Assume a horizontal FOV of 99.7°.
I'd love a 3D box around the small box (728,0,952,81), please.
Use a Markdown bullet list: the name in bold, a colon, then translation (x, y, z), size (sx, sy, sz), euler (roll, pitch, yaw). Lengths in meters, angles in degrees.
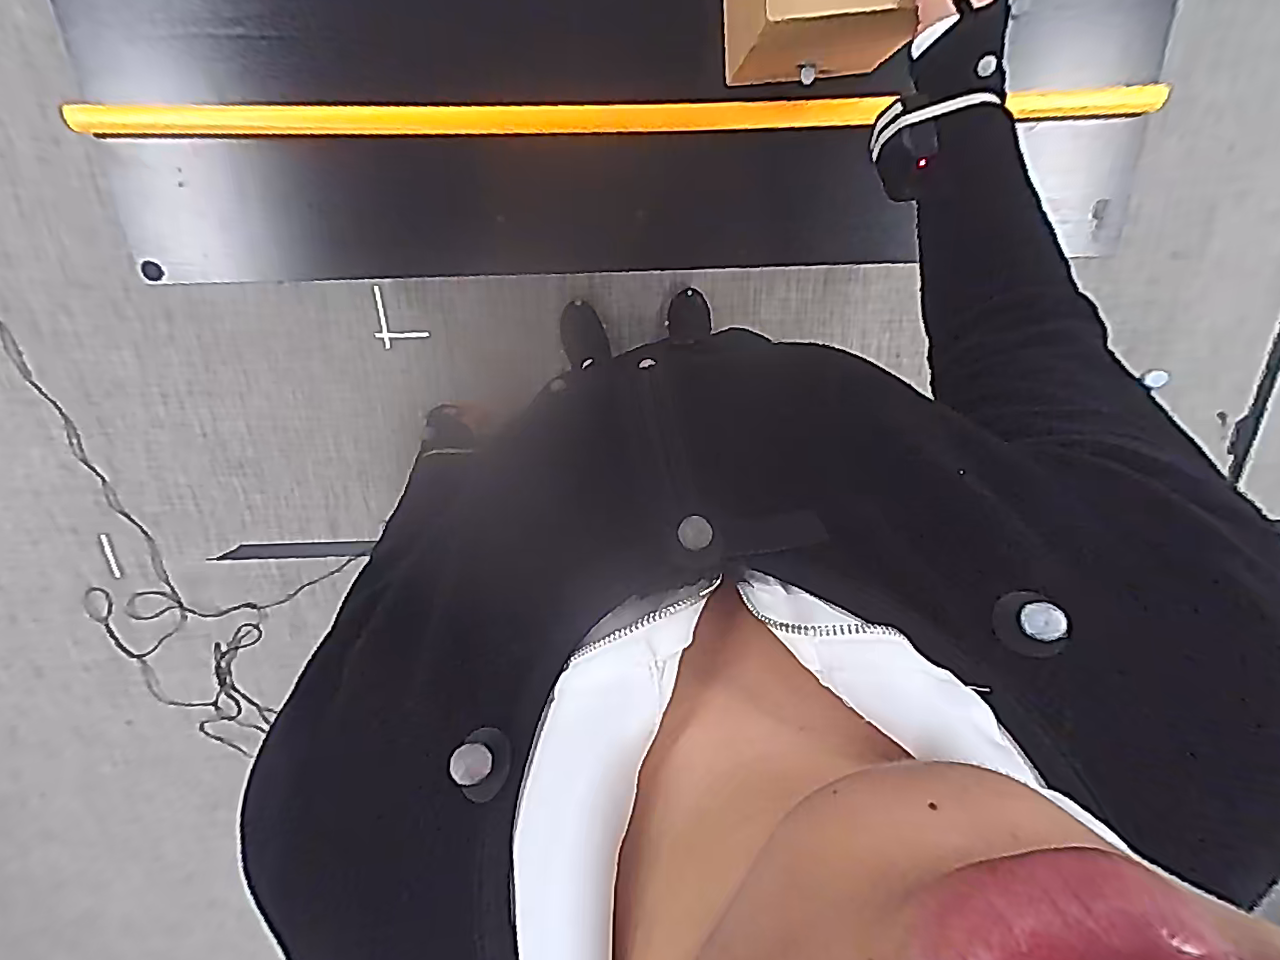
- **small box**: translation (0.178, -0.510, 0.506), size (0.168, 0.176, 0.179), euler (-5, 111, -1)
